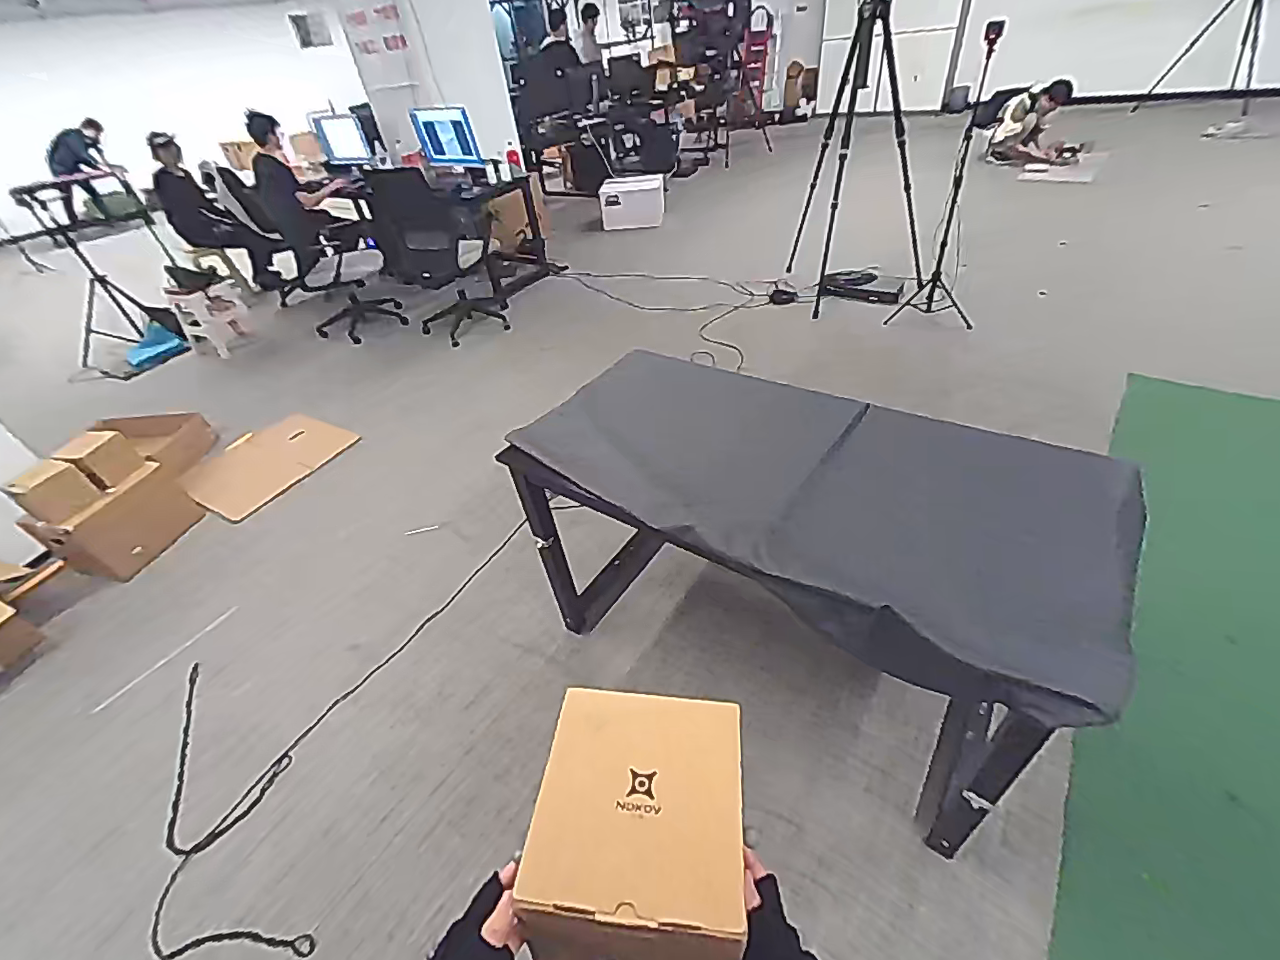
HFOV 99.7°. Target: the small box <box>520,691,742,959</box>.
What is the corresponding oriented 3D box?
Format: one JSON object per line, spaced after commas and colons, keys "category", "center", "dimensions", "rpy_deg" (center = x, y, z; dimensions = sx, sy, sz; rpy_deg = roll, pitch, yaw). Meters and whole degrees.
{"category": "small box", "center": [0.002, 0.328, 0.499], "dimensions": [0.168, 0.176, 0.179], "rpy_deg": [4, 36, 6]}
